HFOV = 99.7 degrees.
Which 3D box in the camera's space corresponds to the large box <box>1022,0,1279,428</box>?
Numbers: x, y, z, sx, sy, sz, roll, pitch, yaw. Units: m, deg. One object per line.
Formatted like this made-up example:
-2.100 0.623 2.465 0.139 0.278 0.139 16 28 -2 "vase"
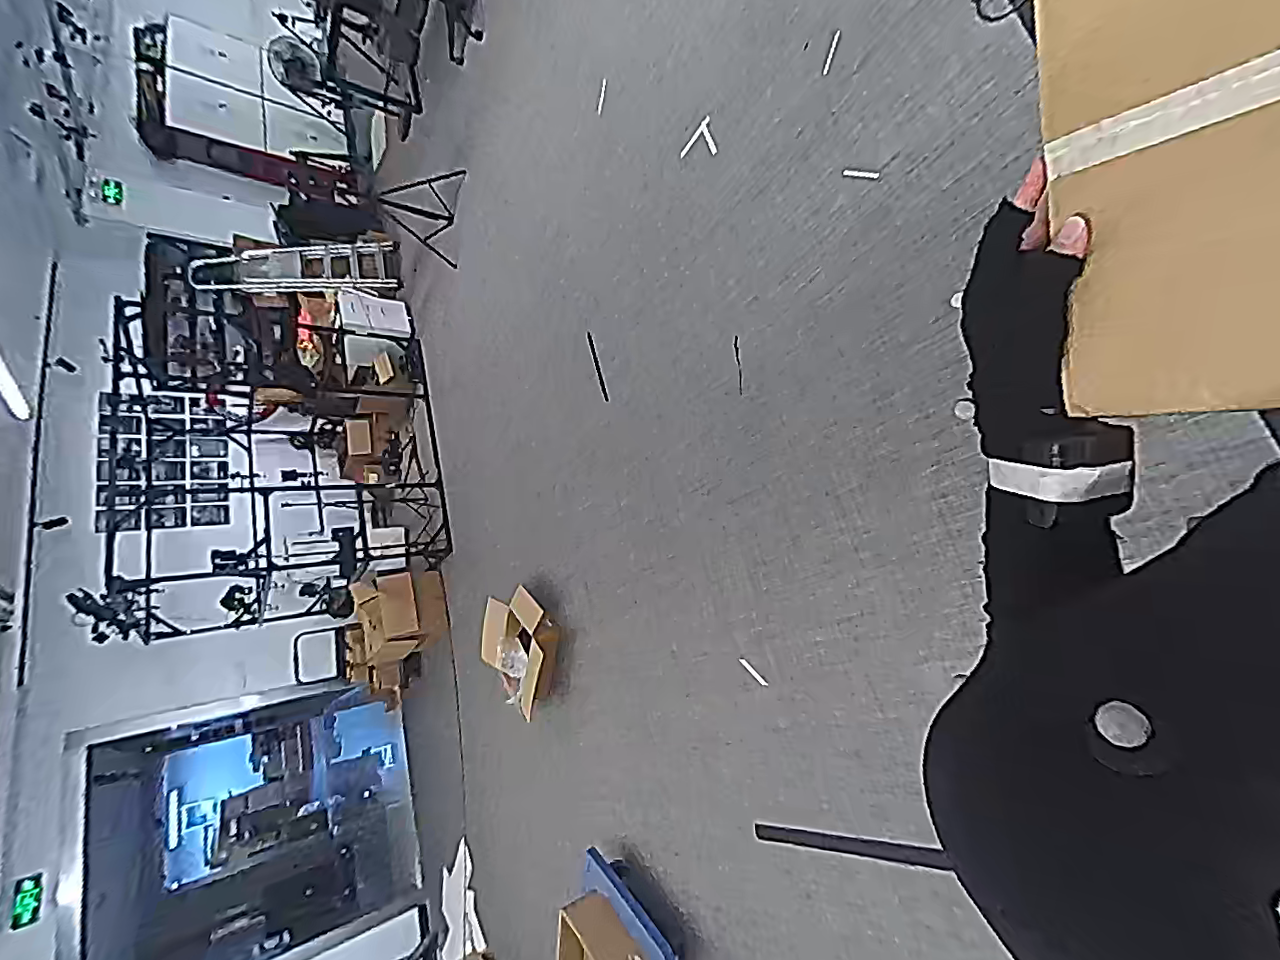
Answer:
0.482 -0.220 0.257 0.408 0.320 0.320 2 106 55 "large box"
